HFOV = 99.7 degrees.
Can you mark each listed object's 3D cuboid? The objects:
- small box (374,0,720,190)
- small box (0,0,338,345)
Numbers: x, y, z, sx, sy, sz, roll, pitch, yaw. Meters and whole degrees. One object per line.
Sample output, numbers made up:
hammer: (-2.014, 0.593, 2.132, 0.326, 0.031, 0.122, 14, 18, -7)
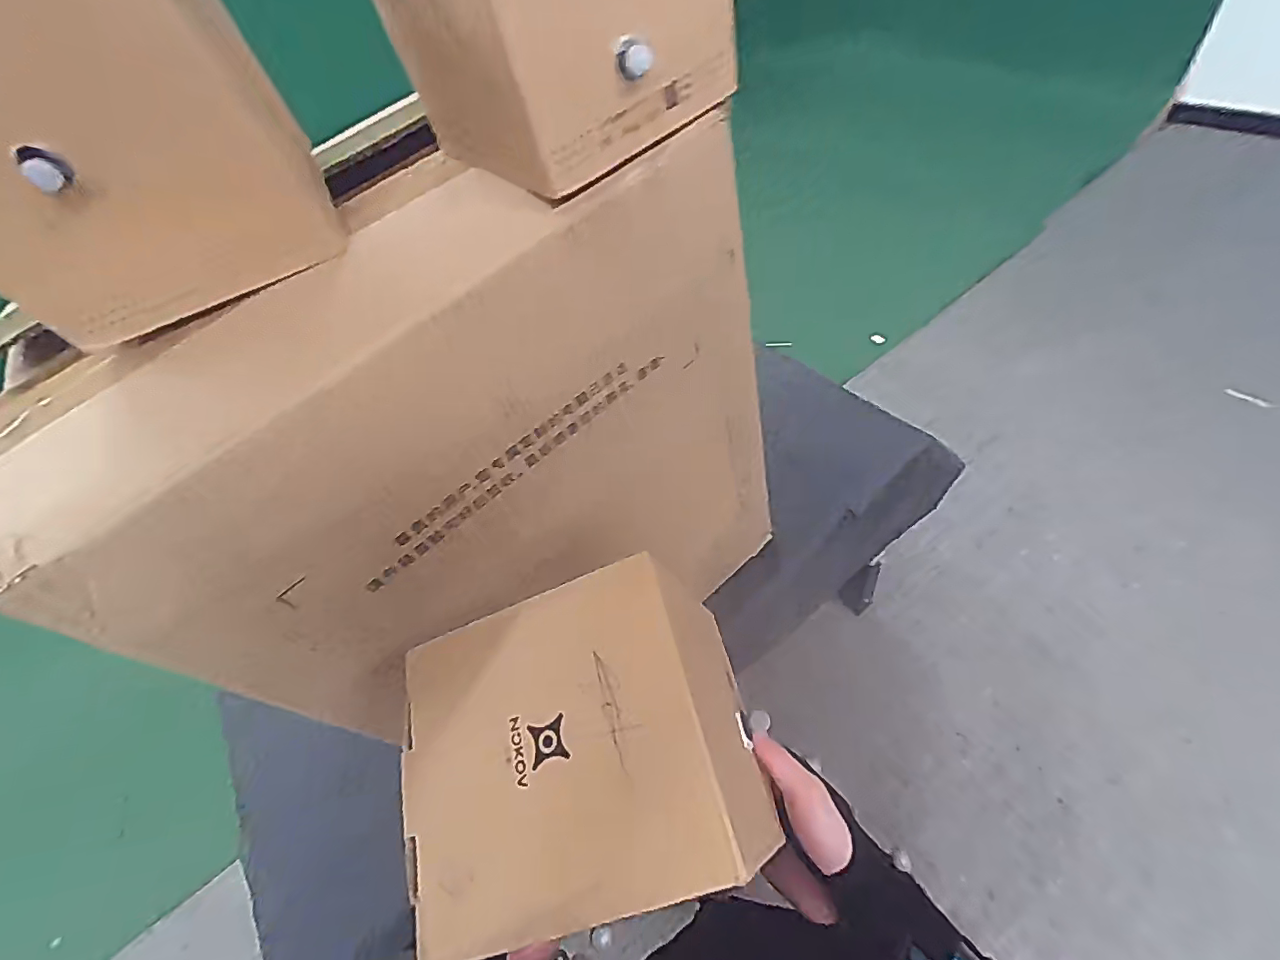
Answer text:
small box: (-0.068, -0.318, 0.350, 0.168, 0.176, 0.179, -39, 55, -14)
small box: (-0.326, -0.215, 0.327, 0.179, 0.176, 0.168, -27, 63, -7)
